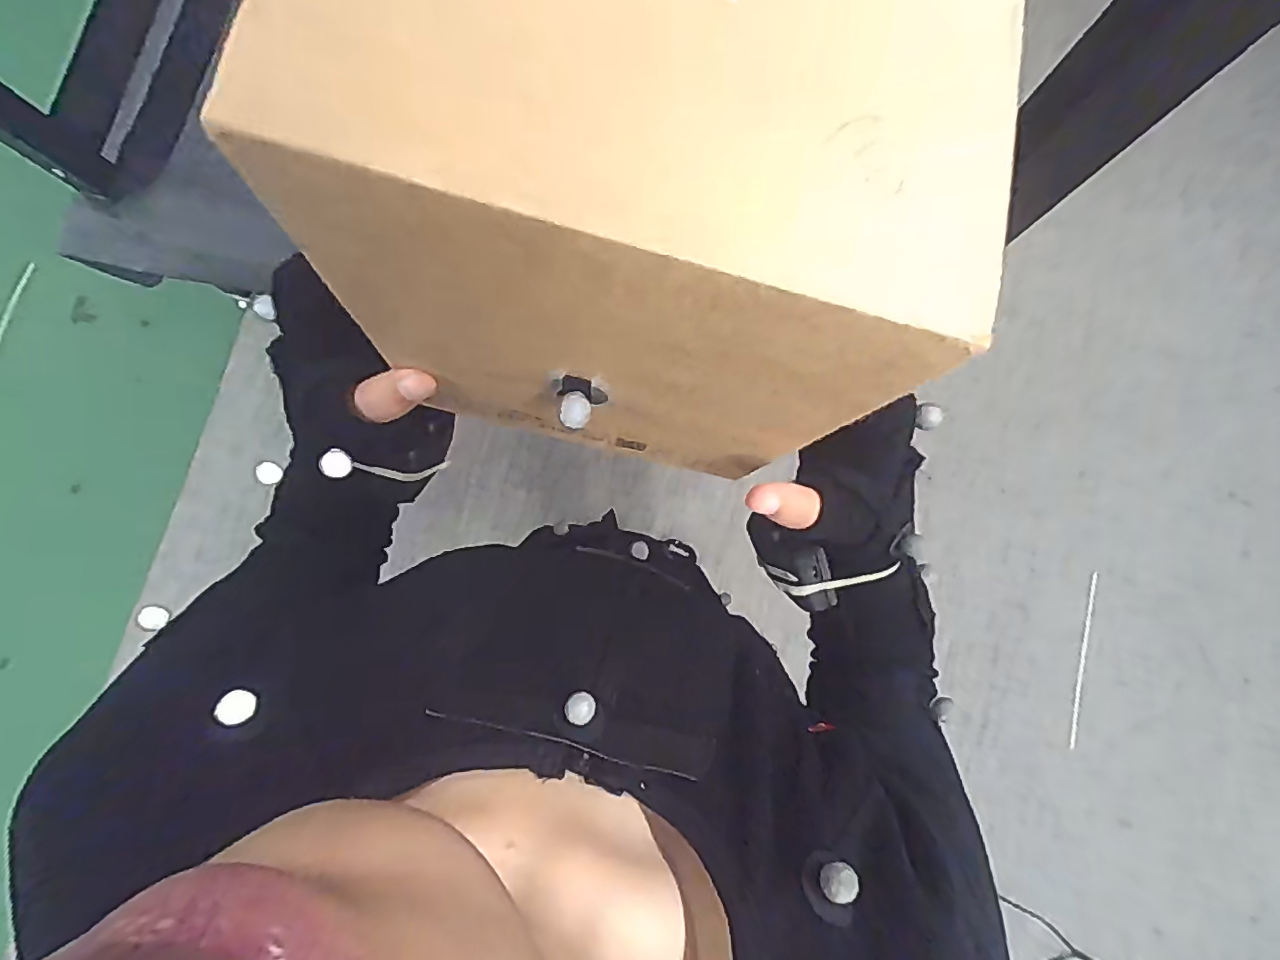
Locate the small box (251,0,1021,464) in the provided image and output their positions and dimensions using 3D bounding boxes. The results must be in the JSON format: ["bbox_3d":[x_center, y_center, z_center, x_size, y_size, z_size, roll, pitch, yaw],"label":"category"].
[{"bbox_3d":[0.005,-0.115,0.210,0.168,0.176,0.179,14,79,-7],"label":"small box"}]
